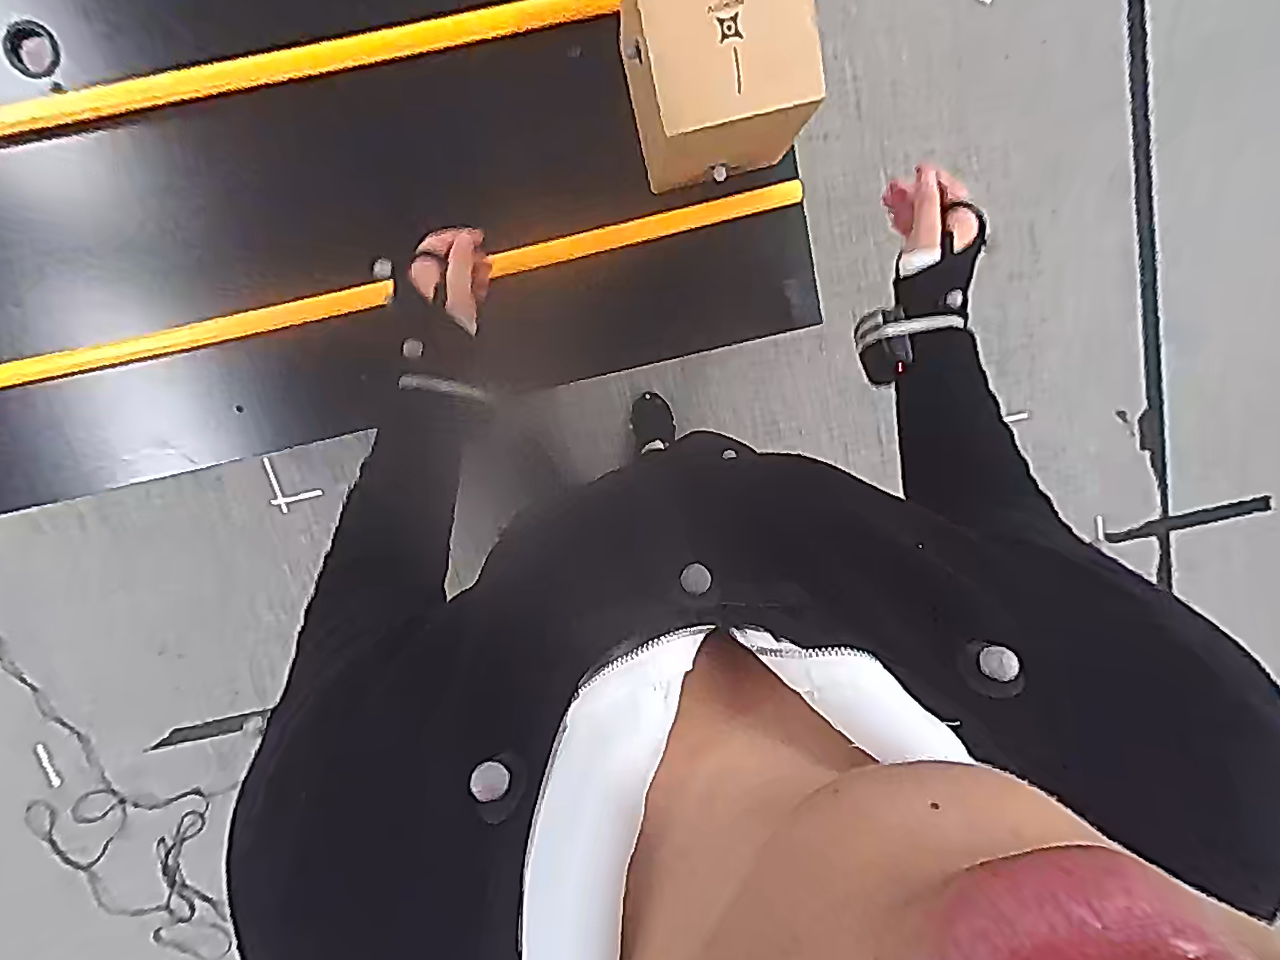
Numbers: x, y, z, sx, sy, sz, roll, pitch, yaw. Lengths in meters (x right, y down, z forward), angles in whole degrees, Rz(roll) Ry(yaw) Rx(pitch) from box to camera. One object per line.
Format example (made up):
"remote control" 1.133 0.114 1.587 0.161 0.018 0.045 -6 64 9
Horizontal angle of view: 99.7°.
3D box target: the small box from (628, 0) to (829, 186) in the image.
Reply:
"small box" 0.084 -0.456 0.591 0.168 0.176 0.179 -13 101 0
